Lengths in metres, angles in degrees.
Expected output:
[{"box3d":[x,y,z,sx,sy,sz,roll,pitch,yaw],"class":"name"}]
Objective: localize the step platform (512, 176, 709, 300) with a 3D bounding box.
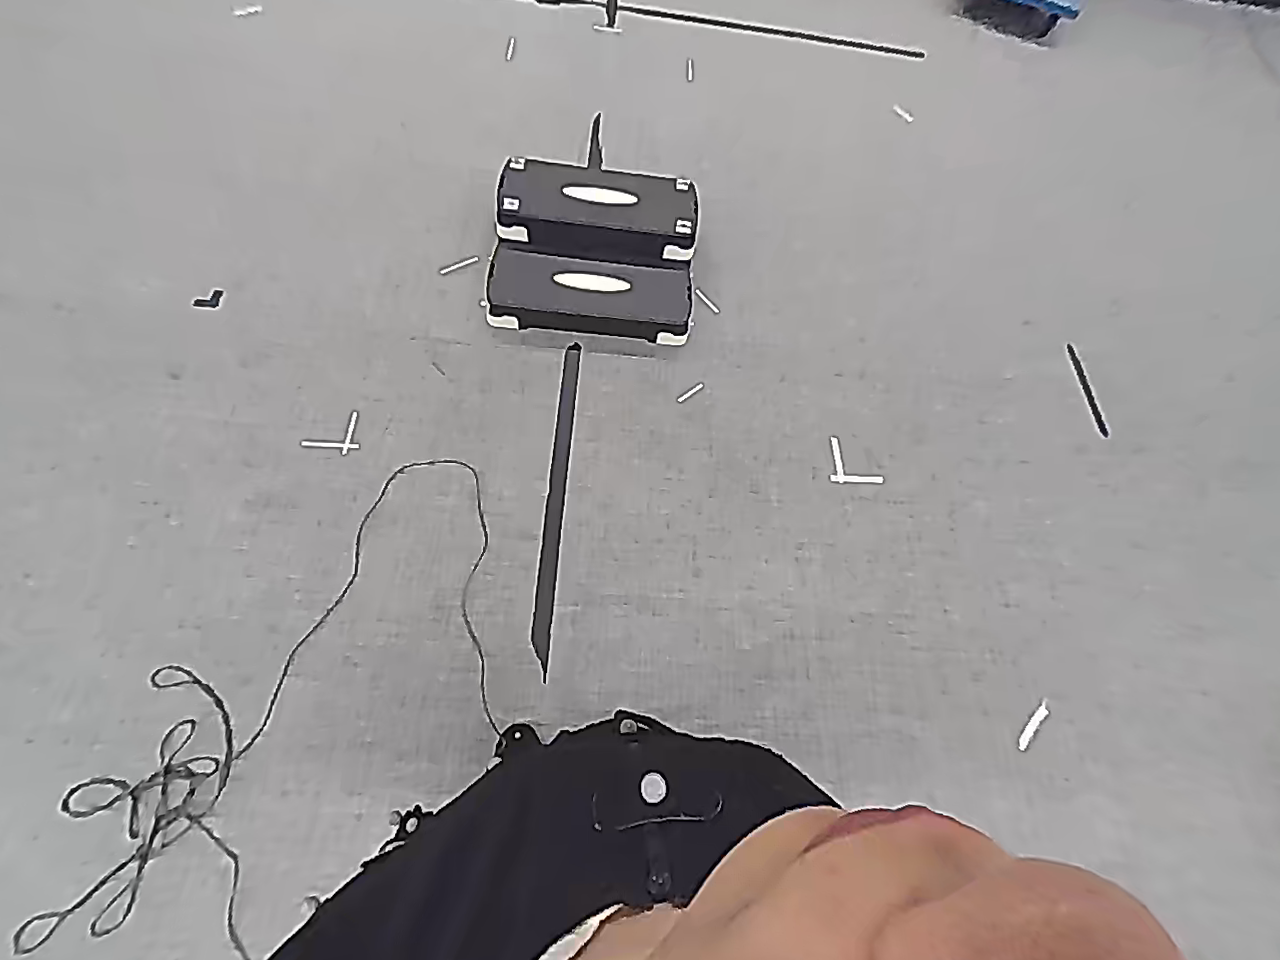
[{"box3d":[-0.100,-0.852,1.907,0.684,0.204,0.286,9,64,-3],"class":"step platform"}]
